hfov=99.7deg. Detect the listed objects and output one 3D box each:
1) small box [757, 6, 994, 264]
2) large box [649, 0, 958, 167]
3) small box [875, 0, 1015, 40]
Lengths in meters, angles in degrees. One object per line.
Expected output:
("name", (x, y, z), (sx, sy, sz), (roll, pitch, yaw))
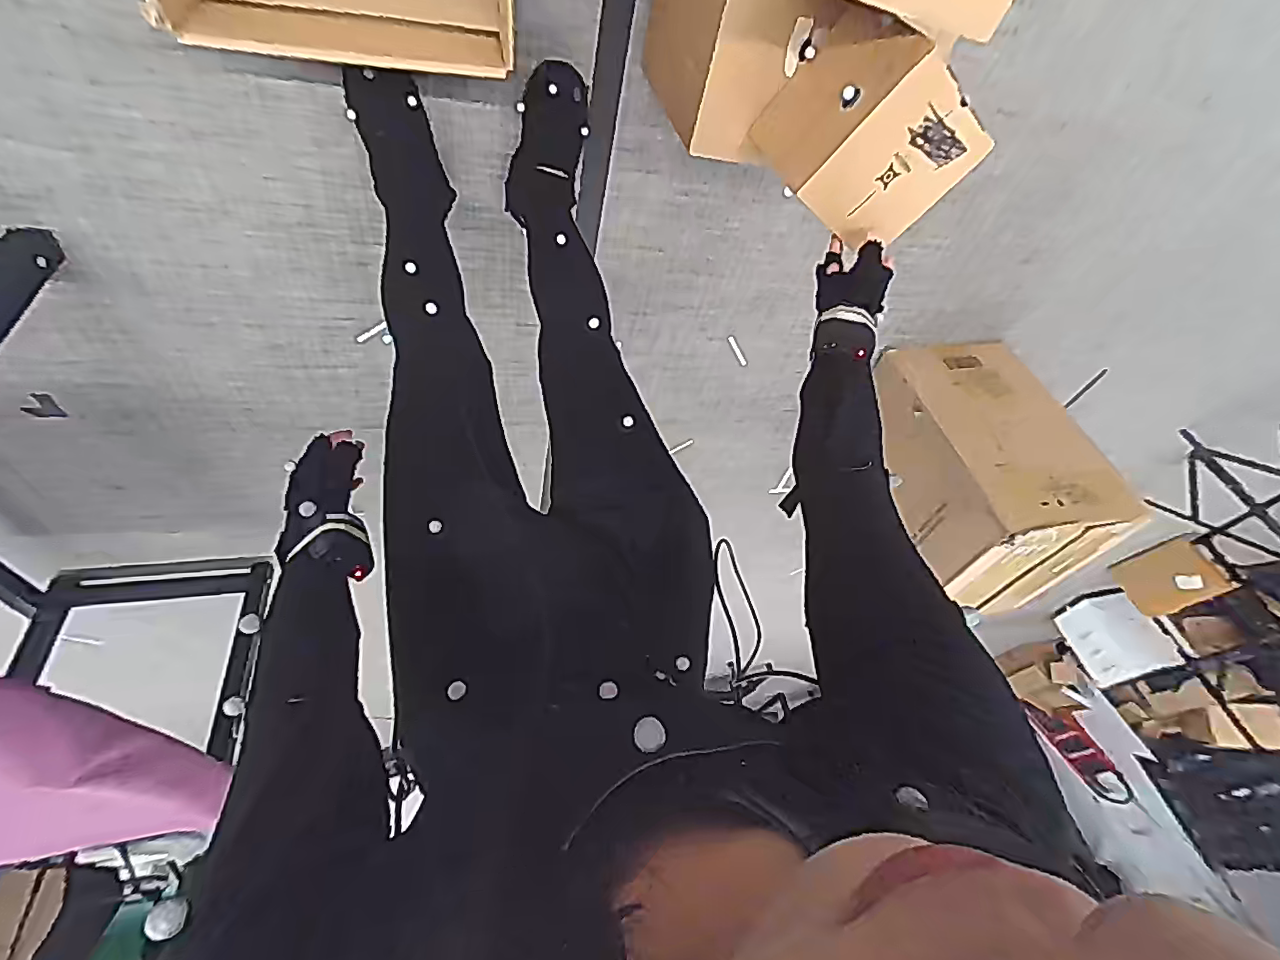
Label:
("small box", (0.273, -0.412, 0.655), (0.168, 0.176, 0.179), (19, 134, -37))
("large box", (0.223, -0.680, 0.696), (0.320, 0.320, 0.408), (-2, 144, -15))
("small box", (0.263, -0.539, 0.481), (0.179, 0.176, 0.168), (-1, 145, -19))
